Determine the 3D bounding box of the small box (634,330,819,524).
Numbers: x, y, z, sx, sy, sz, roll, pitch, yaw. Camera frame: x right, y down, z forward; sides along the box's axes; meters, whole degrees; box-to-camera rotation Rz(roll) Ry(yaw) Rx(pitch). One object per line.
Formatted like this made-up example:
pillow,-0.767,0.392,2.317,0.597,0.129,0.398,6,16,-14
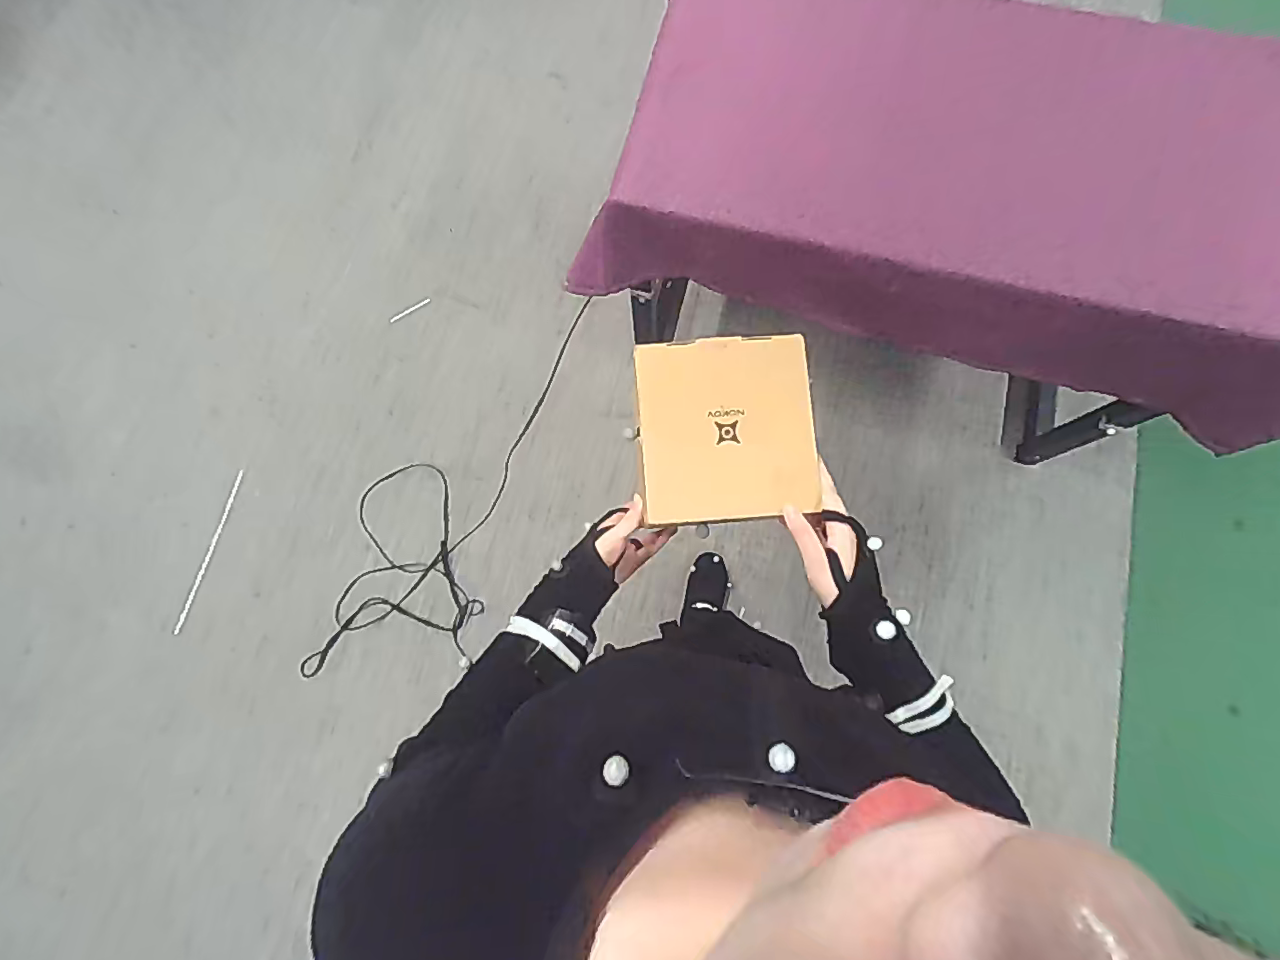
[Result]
small box,0.082,-0.044,0.590,0.168,0.176,0.179,-4,82,0
